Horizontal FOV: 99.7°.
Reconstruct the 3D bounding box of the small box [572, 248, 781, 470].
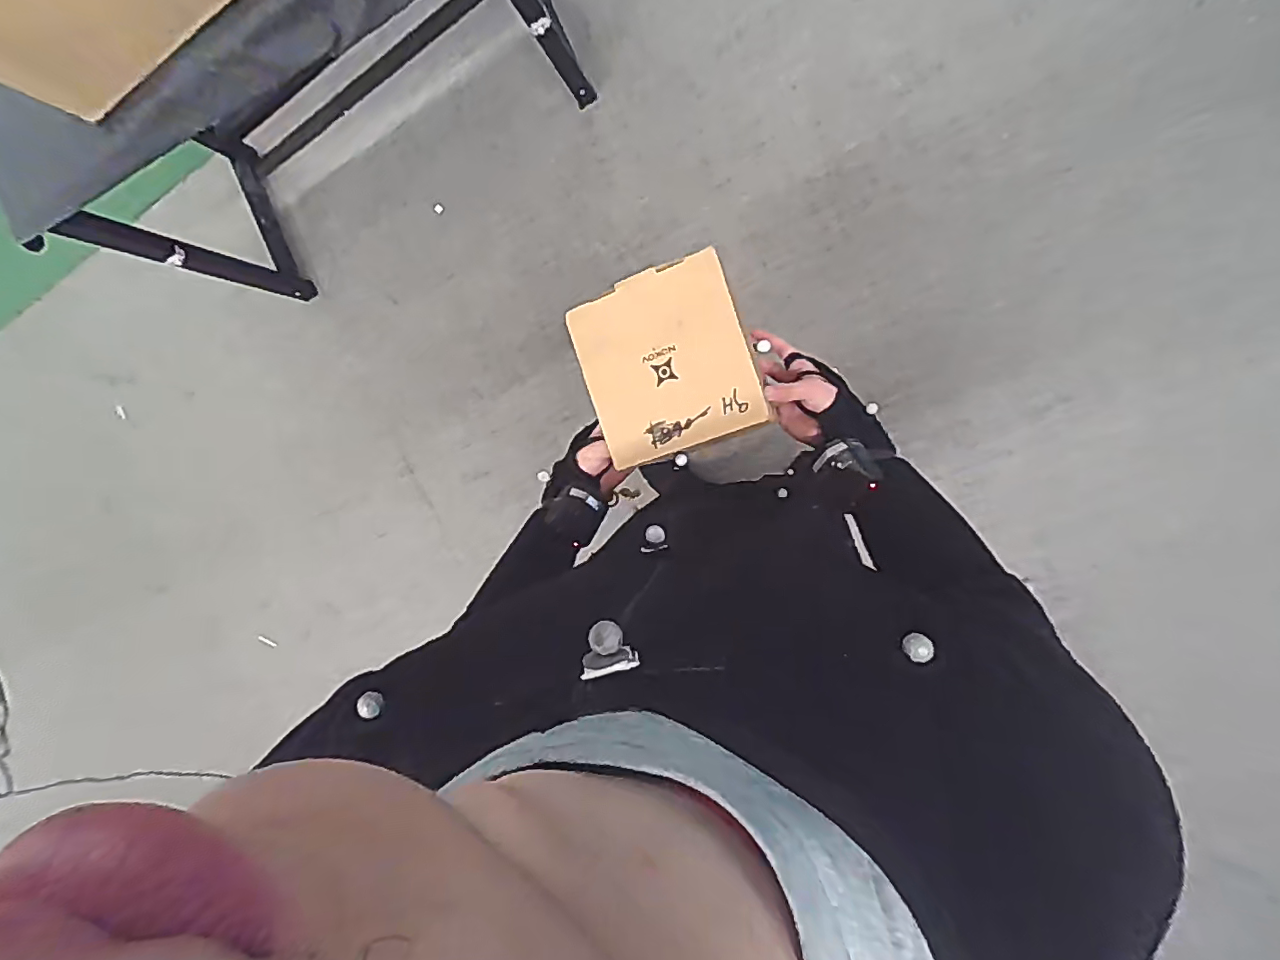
[{"bbox_3d":[0.051,-0.121,0.608,0.168,0.176,0.179,-19,89,18],"label":"small box"}]
